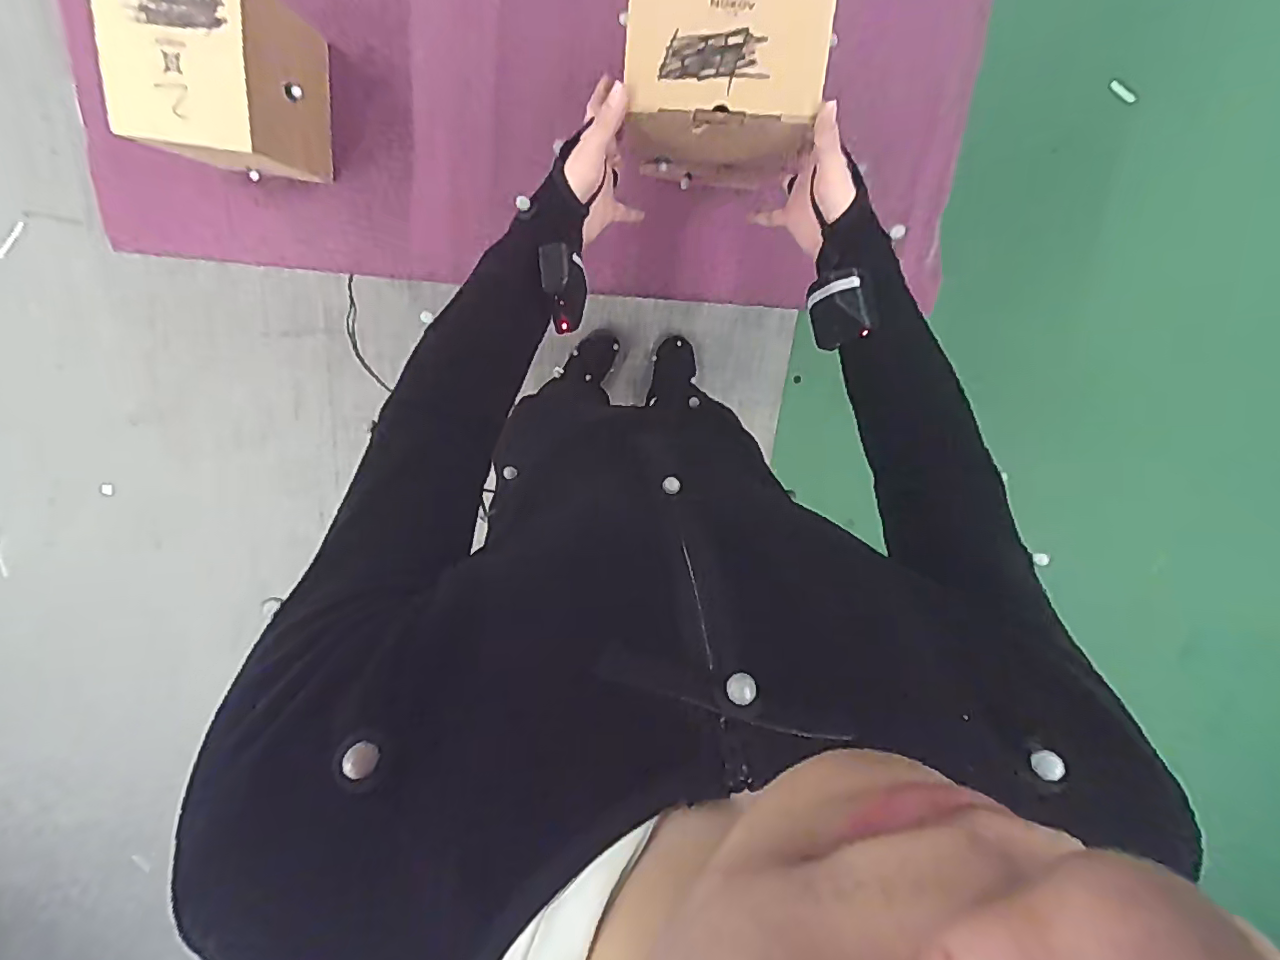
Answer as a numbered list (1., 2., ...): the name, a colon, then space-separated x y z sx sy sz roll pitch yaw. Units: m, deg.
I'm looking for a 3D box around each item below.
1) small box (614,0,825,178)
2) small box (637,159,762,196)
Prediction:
1. small box: 0.072 -0.404 0.510 0.168 0.176 0.179 5 105 2
2. small box: 0.083 -0.469 0.662 0.168 0.176 0.179 7 107 1
